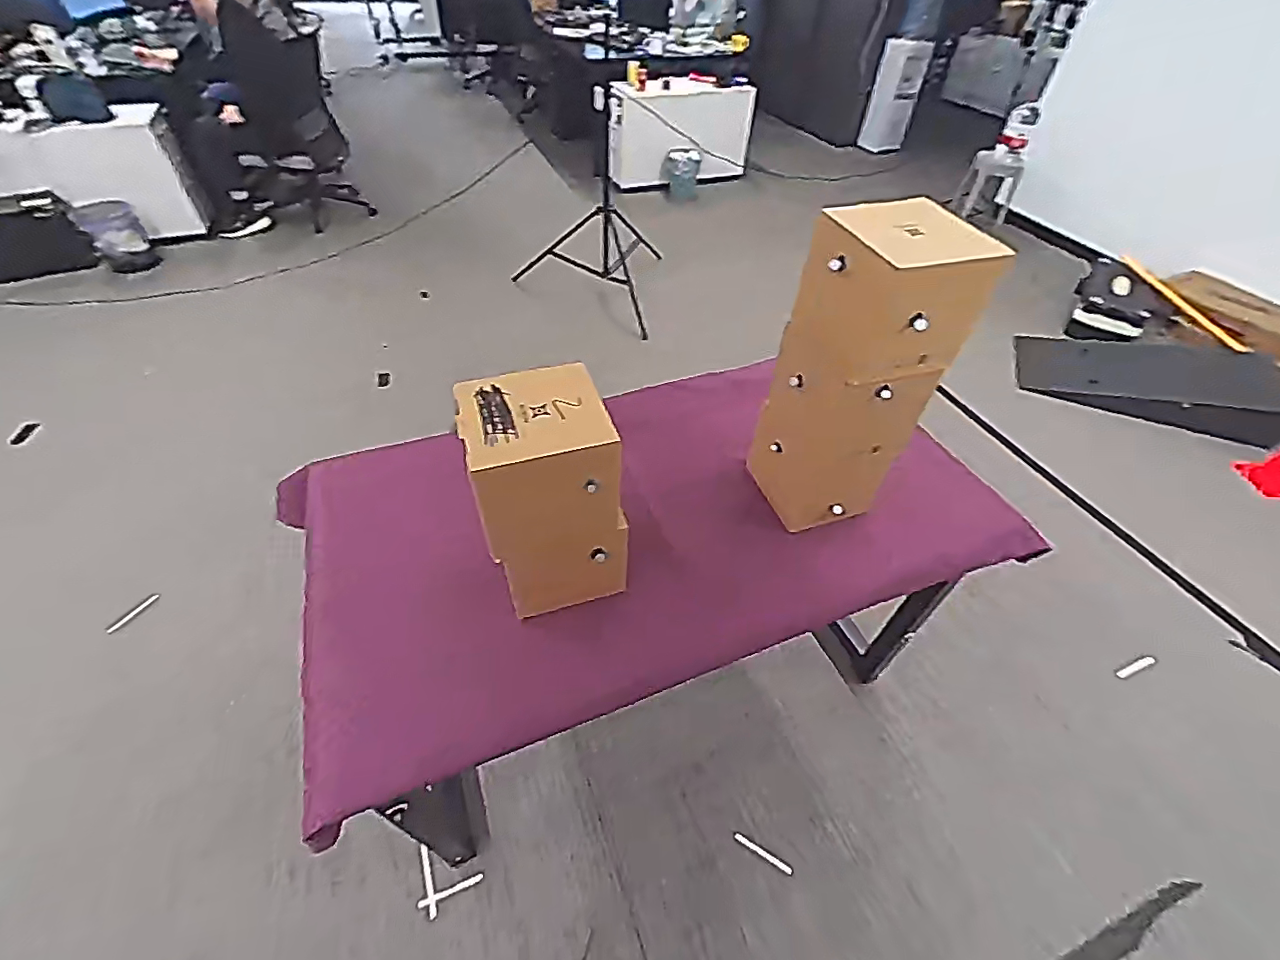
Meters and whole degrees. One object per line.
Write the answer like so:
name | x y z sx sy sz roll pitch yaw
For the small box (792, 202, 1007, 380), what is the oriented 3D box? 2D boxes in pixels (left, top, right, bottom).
small box | 0.331 -0.250 0.732 0.168 0.176 0.179 -12 48 -13

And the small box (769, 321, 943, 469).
small box | 0.323 -0.143 0.855 0.168 0.176 0.179 -12 48 -13

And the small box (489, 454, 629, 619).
small box | -0.125 0.088 0.840 0.179 0.176 0.168 -13 48 -14

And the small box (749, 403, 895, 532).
small box | 0.315 -0.035 0.977 0.168 0.176 0.179 -14 49 -14
